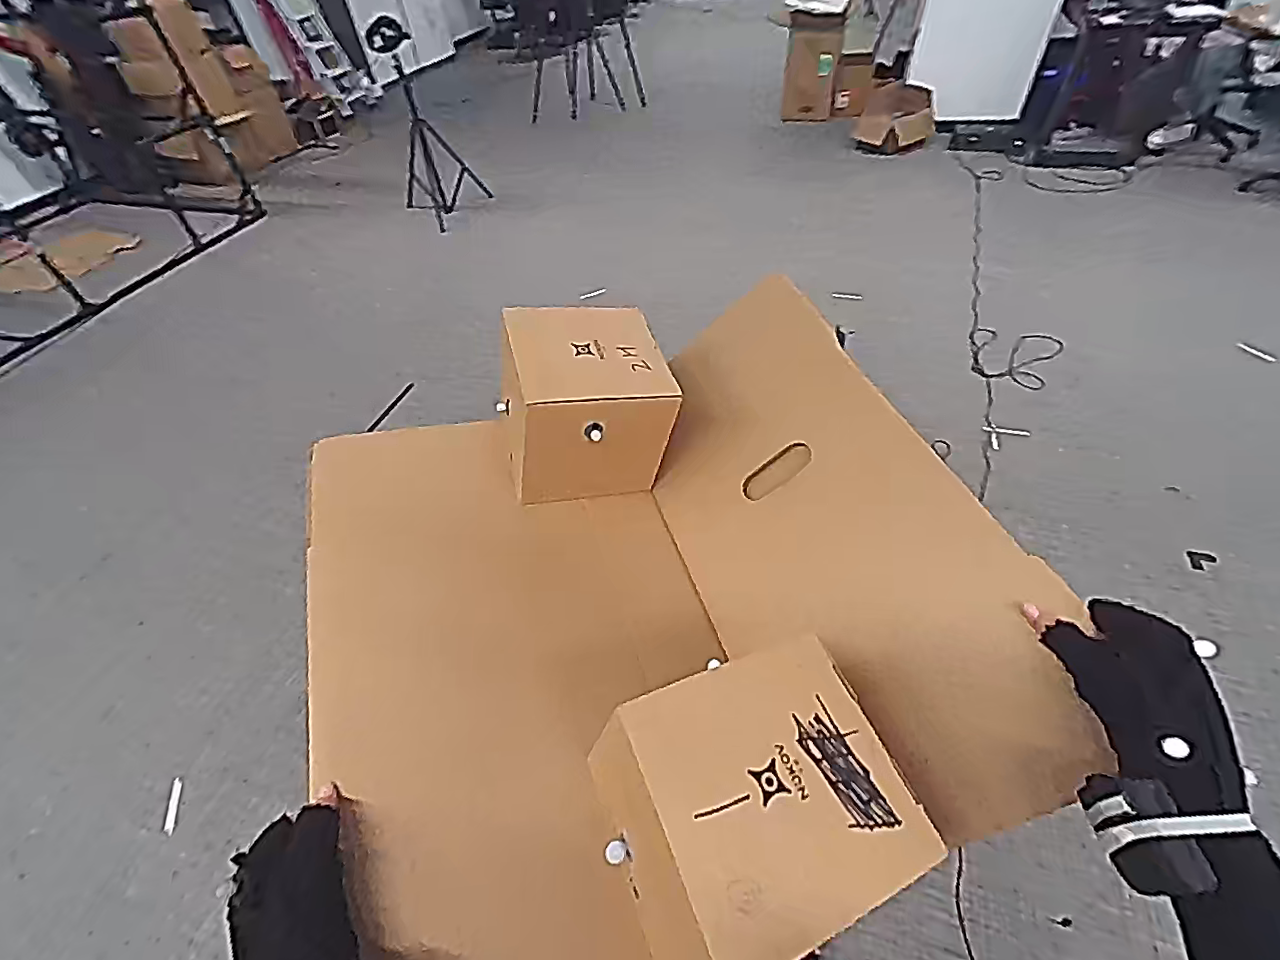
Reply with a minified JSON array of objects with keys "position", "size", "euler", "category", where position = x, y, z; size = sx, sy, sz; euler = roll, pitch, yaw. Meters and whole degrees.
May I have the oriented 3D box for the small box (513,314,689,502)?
[{"position":[-0.061,-0.087,0.674],"size":[0.179,0.176,0.168],"euler":[-5,52,-19],"category":"small box"}]
